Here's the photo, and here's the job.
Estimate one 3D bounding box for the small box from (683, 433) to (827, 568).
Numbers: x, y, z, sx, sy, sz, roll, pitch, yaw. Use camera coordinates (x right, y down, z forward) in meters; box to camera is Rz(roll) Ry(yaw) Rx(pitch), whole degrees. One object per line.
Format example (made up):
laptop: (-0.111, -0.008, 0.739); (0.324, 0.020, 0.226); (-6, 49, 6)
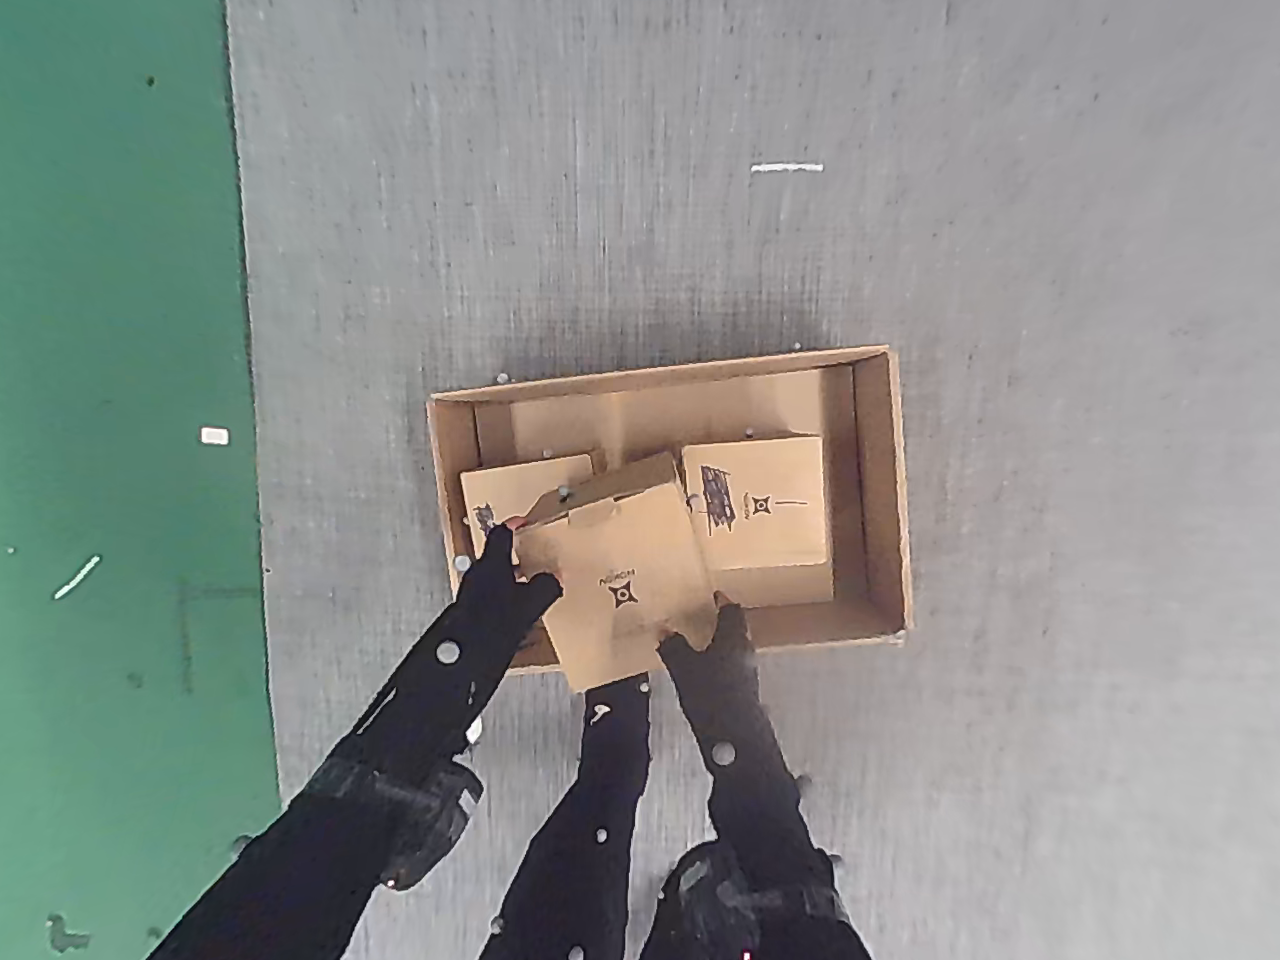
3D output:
small box: (0.153, 0.022, 0.766); (0.179, 0.176, 0.168); (-4, 97, 4)

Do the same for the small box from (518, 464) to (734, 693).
small box: (-0.011, 0.091, 0.590); (0.168, 0.176, 0.179); (-19, 102, 6)

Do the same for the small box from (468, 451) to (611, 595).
small box: (-0.126, 0.052, 0.783); (0.179, 0.176, 0.168); (-9, 95, 2)
